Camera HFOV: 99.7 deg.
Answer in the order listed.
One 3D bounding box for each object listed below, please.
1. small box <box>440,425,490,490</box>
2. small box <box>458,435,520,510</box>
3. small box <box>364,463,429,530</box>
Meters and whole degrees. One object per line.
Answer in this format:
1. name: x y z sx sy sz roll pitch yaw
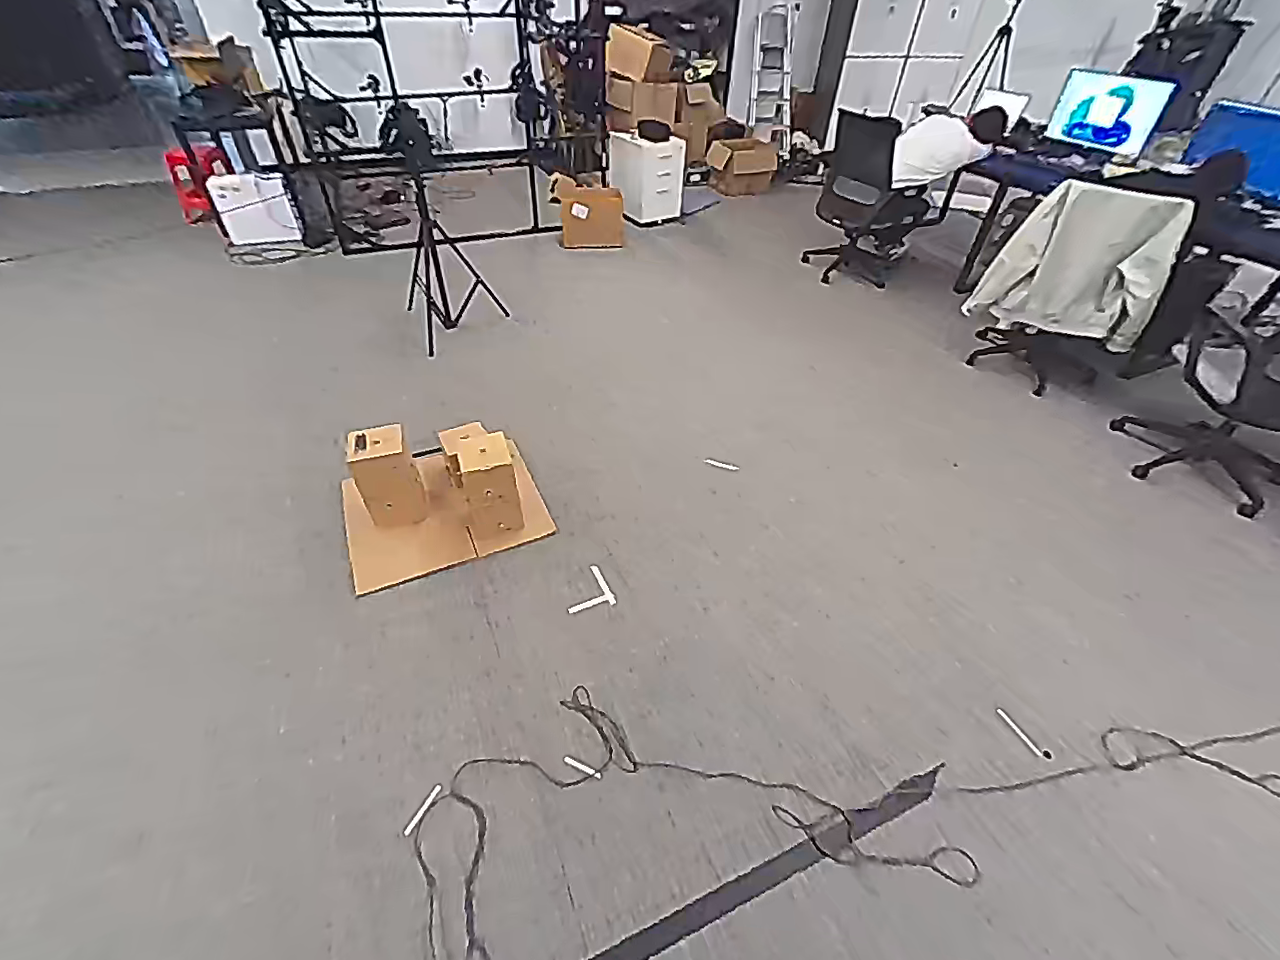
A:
1. small box: -0.680 -0.090 2.171 0.179 0.176 0.168 -21 47 -22
2. small box: -0.520 -0.025 1.864 0.168 0.176 0.179 -14 46 -17
3. small box: -0.891 0.063 1.992 0.179 0.176 0.168 -11 45 -12
